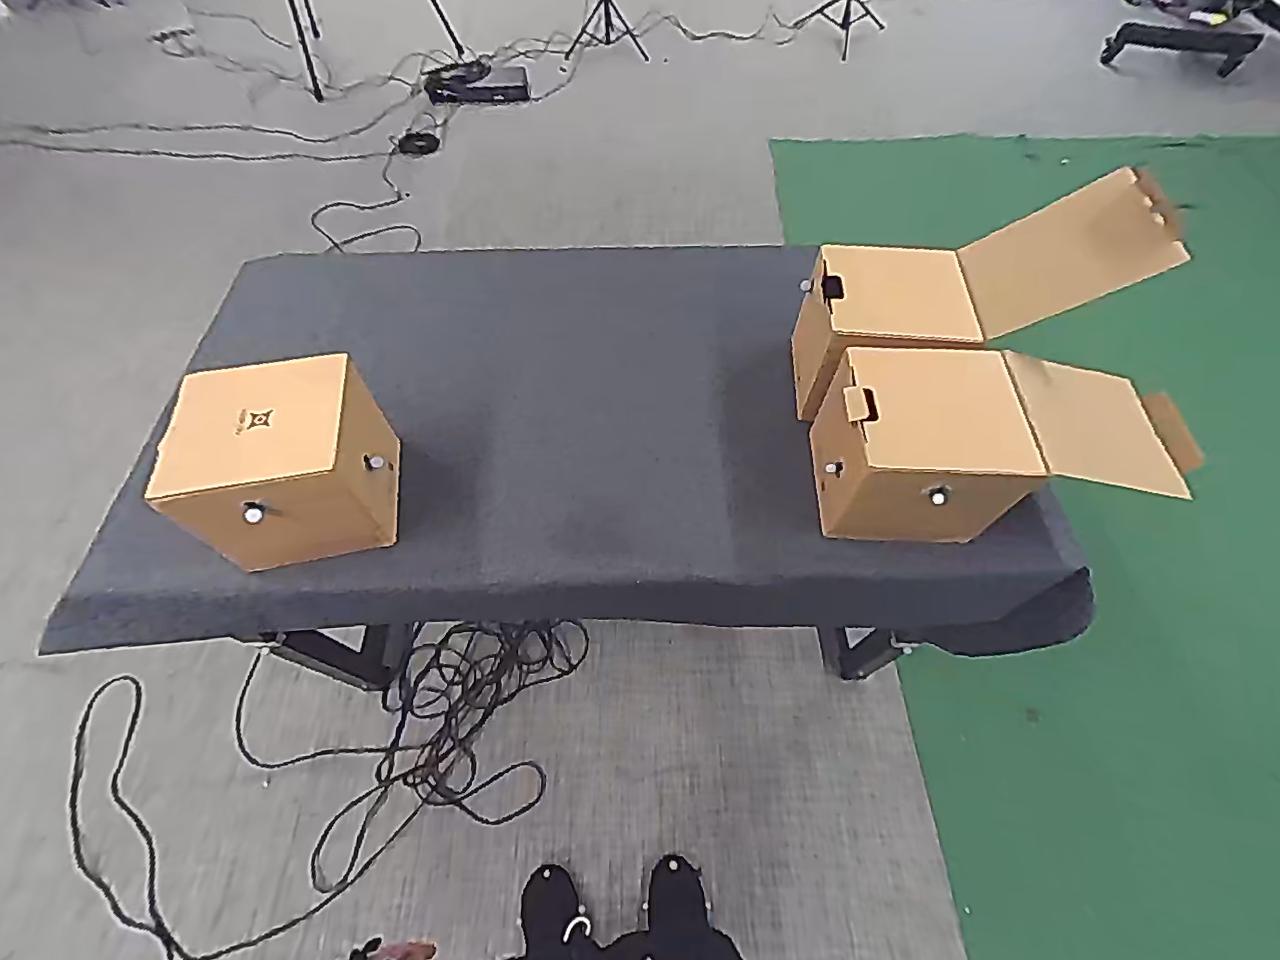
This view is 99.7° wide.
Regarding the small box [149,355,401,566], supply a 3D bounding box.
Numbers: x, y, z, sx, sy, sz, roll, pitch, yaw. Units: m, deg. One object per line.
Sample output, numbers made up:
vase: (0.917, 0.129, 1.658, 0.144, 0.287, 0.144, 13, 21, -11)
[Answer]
small box: (-0.396, -0.017, 0.629, 0.179, 0.176, 0.168, -10, 58, -5)
